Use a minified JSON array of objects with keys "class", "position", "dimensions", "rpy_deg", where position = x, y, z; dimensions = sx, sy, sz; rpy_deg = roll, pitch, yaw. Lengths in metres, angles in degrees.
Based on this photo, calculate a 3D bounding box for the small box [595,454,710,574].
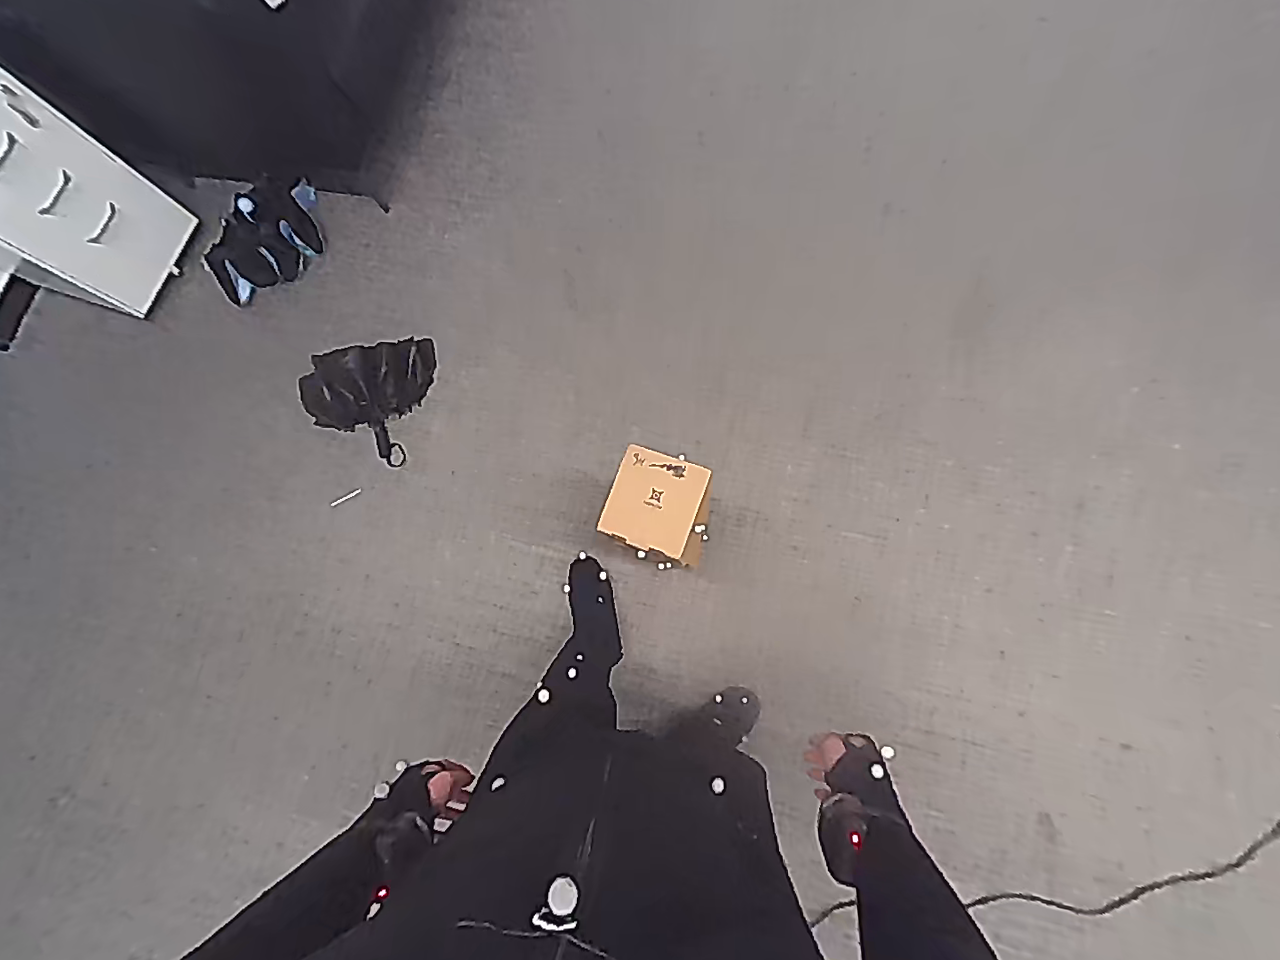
[{"class":"small box","position":[0.034,0.073,1.035],"dimensions":[0.168,0.176,0.179],"rpy_deg":[19,81,11]}]

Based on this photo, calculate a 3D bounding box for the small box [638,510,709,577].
[{"class":"small box","position":[0.076,0.137,1.351],"dimensions":[0.168,0.176,0.179],"rpy_deg":[10,80,11]}]
